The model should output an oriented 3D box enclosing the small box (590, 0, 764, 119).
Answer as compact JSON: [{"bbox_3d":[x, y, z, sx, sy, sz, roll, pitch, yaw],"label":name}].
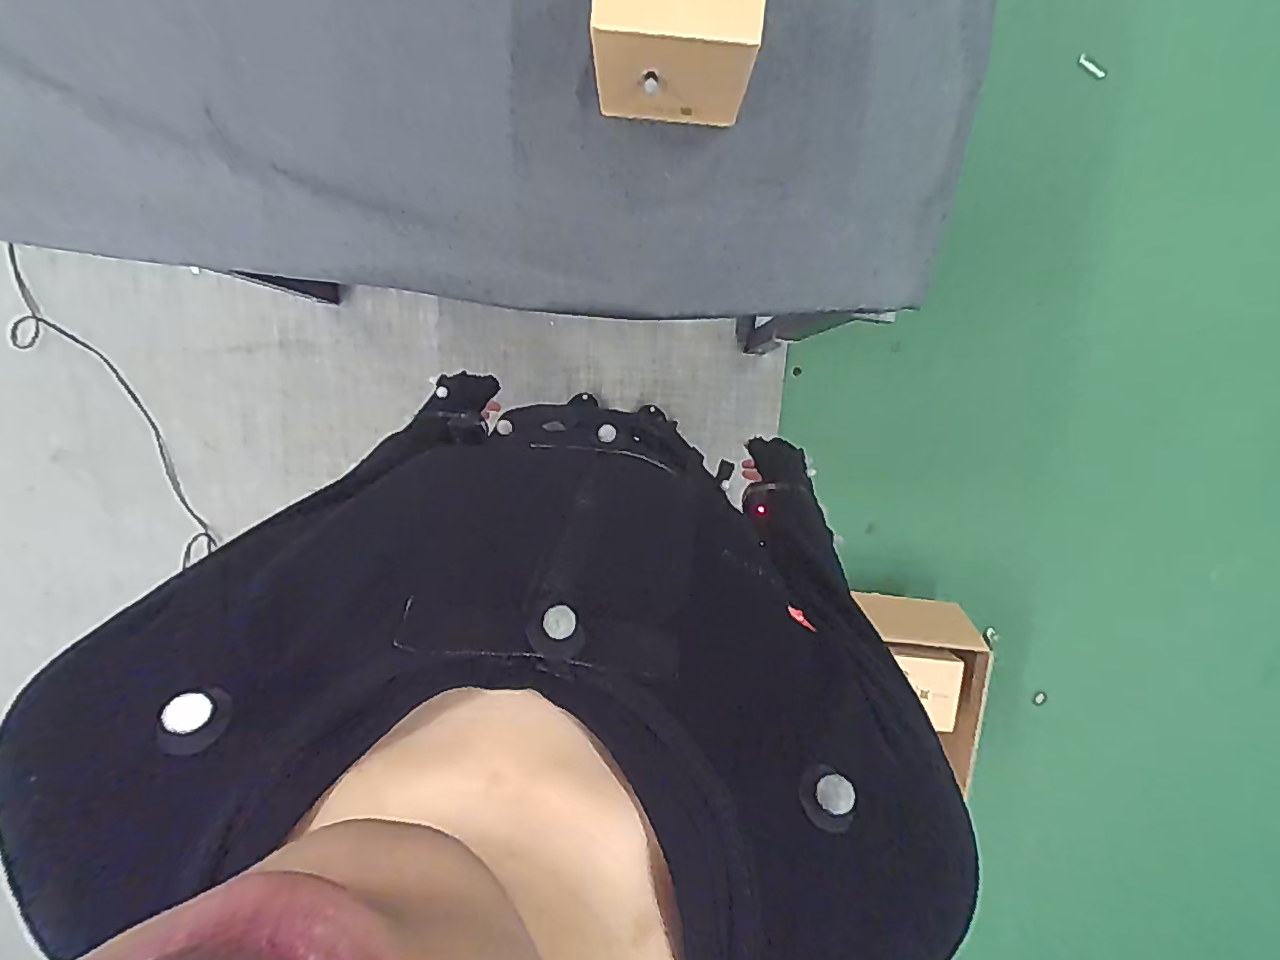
[{"bbox_3d":[0.043,-0.519,0.575,0.168,0.176,0.179,5,99,0],"label":"small box"}]
